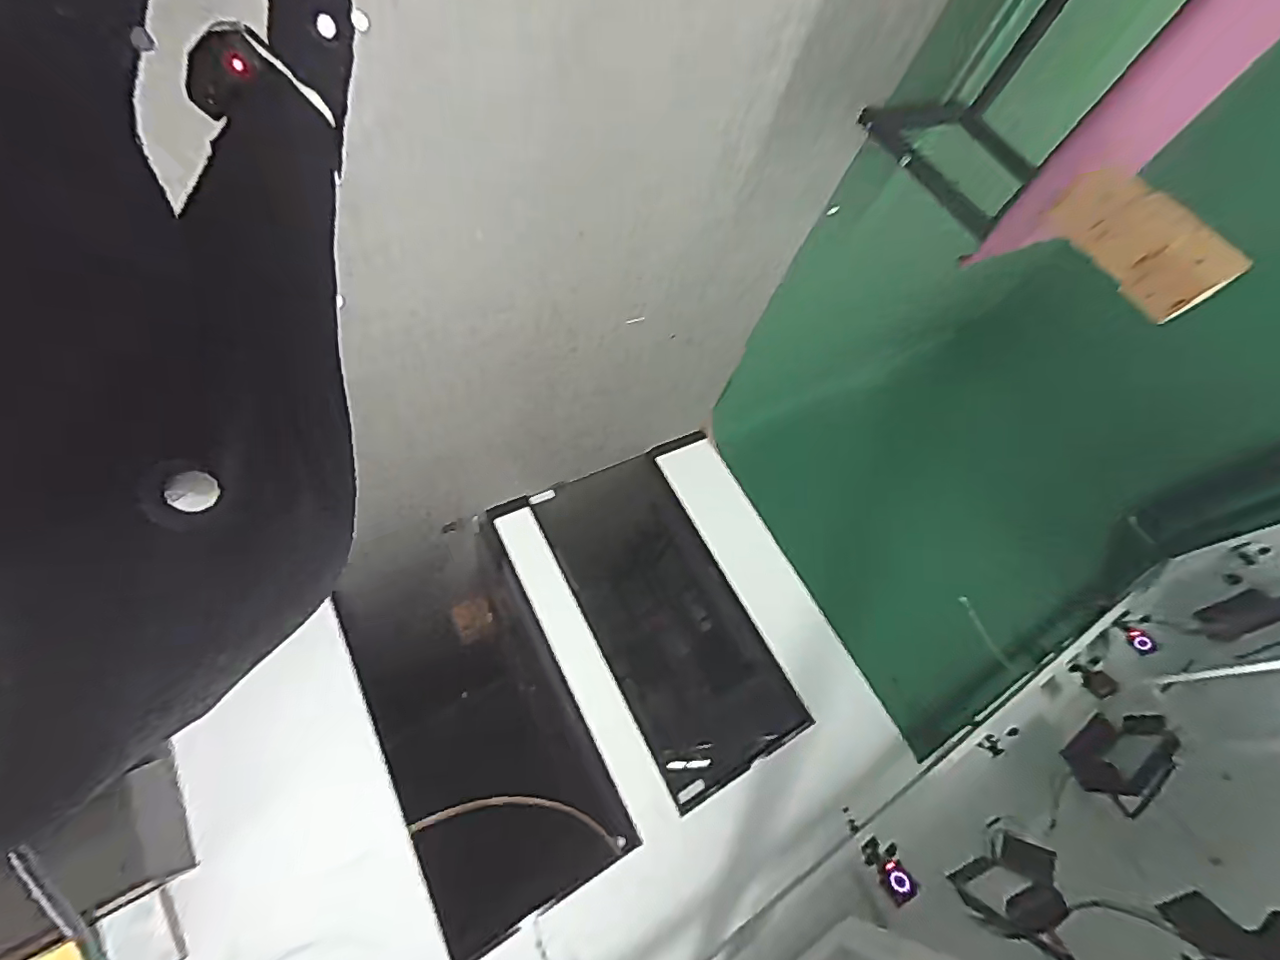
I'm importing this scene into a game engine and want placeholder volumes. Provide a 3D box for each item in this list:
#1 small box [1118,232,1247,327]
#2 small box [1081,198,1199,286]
[{"bbox_3d":[1.599,-0.596,1.607,0.179,0.176,0.168,-27,162,-11],"label":"small box"},{"bbox_3d":[1.521,-0.732,1.652,0.179,0.176,0.168,-23,160,-21],"label":"small box"}]
